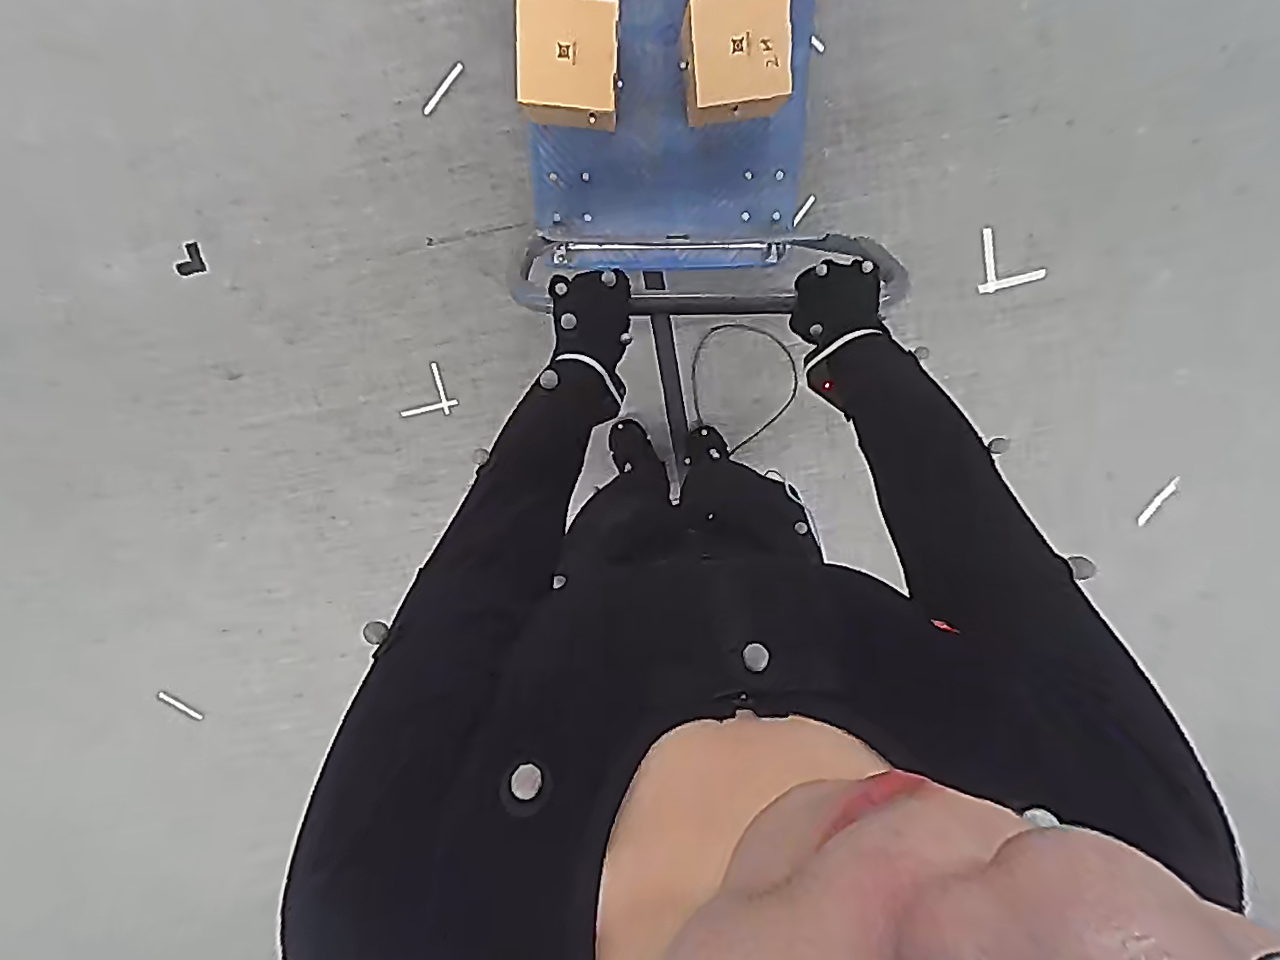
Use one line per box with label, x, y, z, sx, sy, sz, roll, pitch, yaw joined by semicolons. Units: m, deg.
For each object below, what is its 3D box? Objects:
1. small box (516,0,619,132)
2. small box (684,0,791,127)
small box;-0.131;-0.774;1.020;0.179;0.176;0.168;3;112;-4
small box;0.177;-0.788;1.021;0.179;0.176;0.168;-7;113;2
